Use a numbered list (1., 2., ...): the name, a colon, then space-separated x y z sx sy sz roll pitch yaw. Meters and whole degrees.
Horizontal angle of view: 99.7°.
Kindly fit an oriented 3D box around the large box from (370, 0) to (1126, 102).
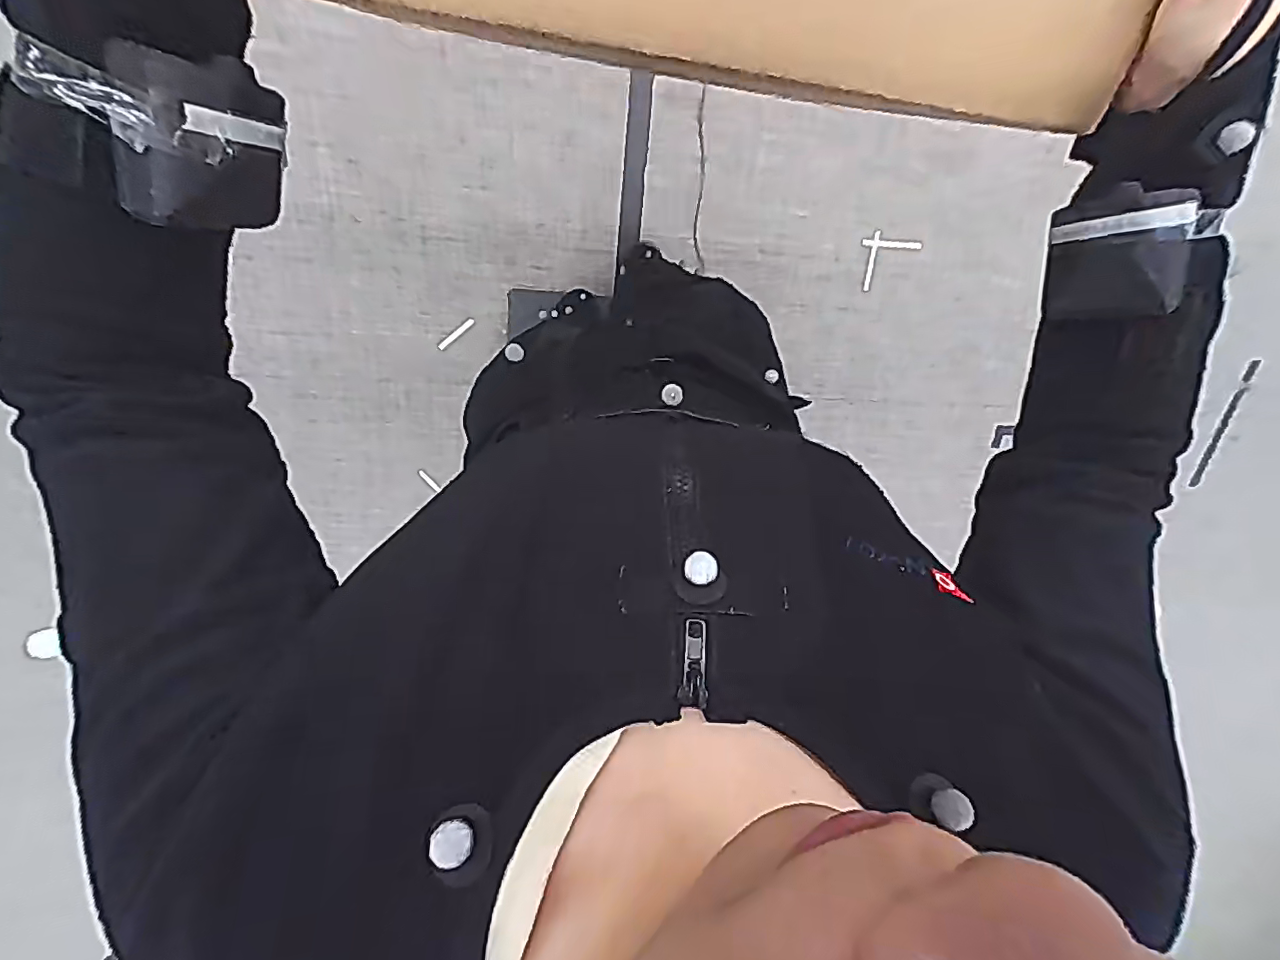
1. large box: 0.039 -0.418 0.286 0.408 0.320 0.320 2 127 -11

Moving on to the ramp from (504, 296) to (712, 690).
1. ramp: -0.092 0.067 1.373 0.509 0.206 0.991 1 110 -7
